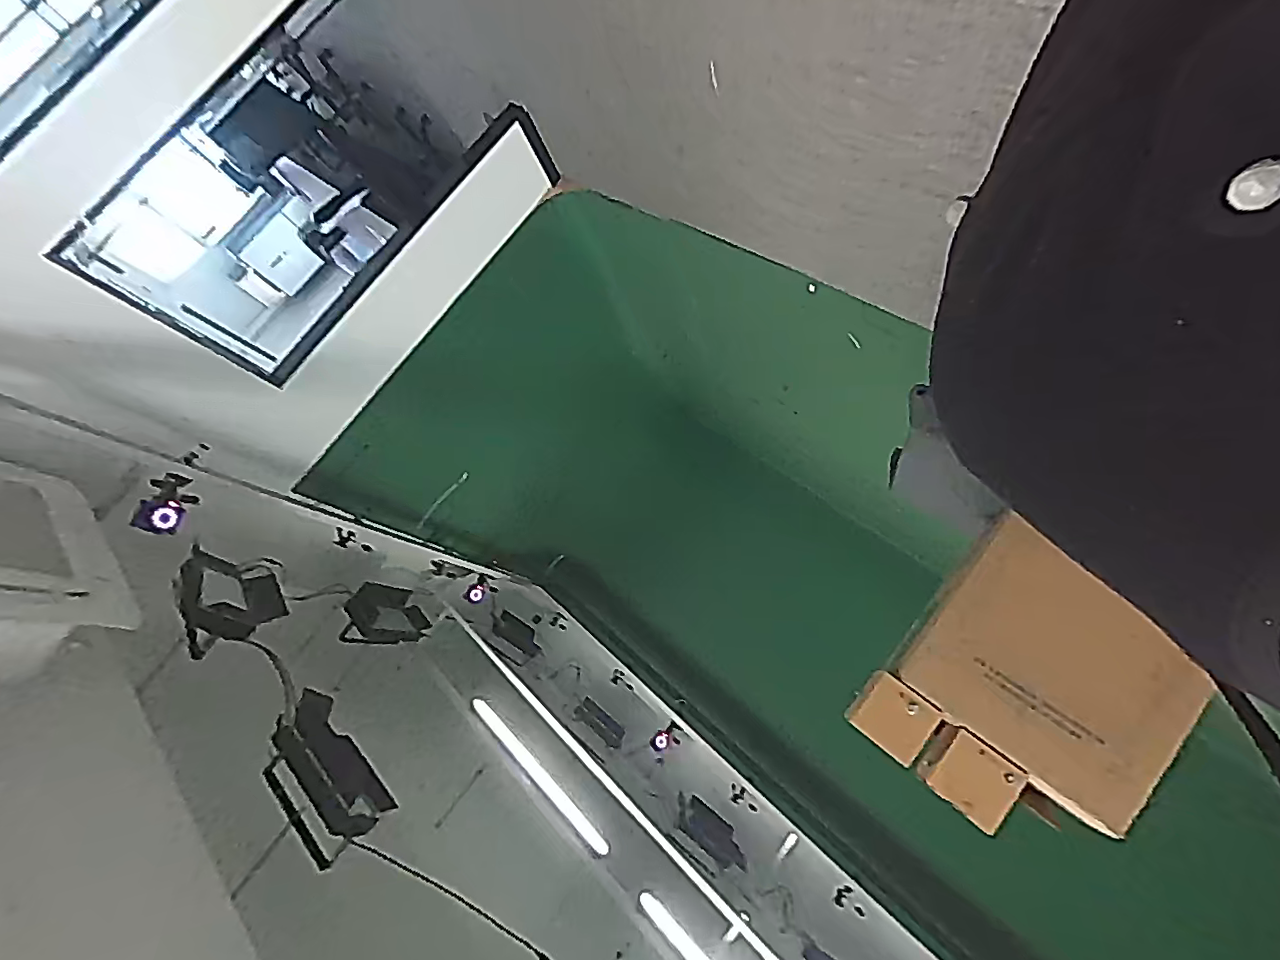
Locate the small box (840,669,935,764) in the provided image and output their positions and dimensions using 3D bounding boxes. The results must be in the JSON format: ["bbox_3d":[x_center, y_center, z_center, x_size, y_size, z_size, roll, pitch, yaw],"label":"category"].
[{"bbox_3d":[0.671,0.634,1.475,0.168,0.176,0.179,36,173,24],"label":"small box"}]
